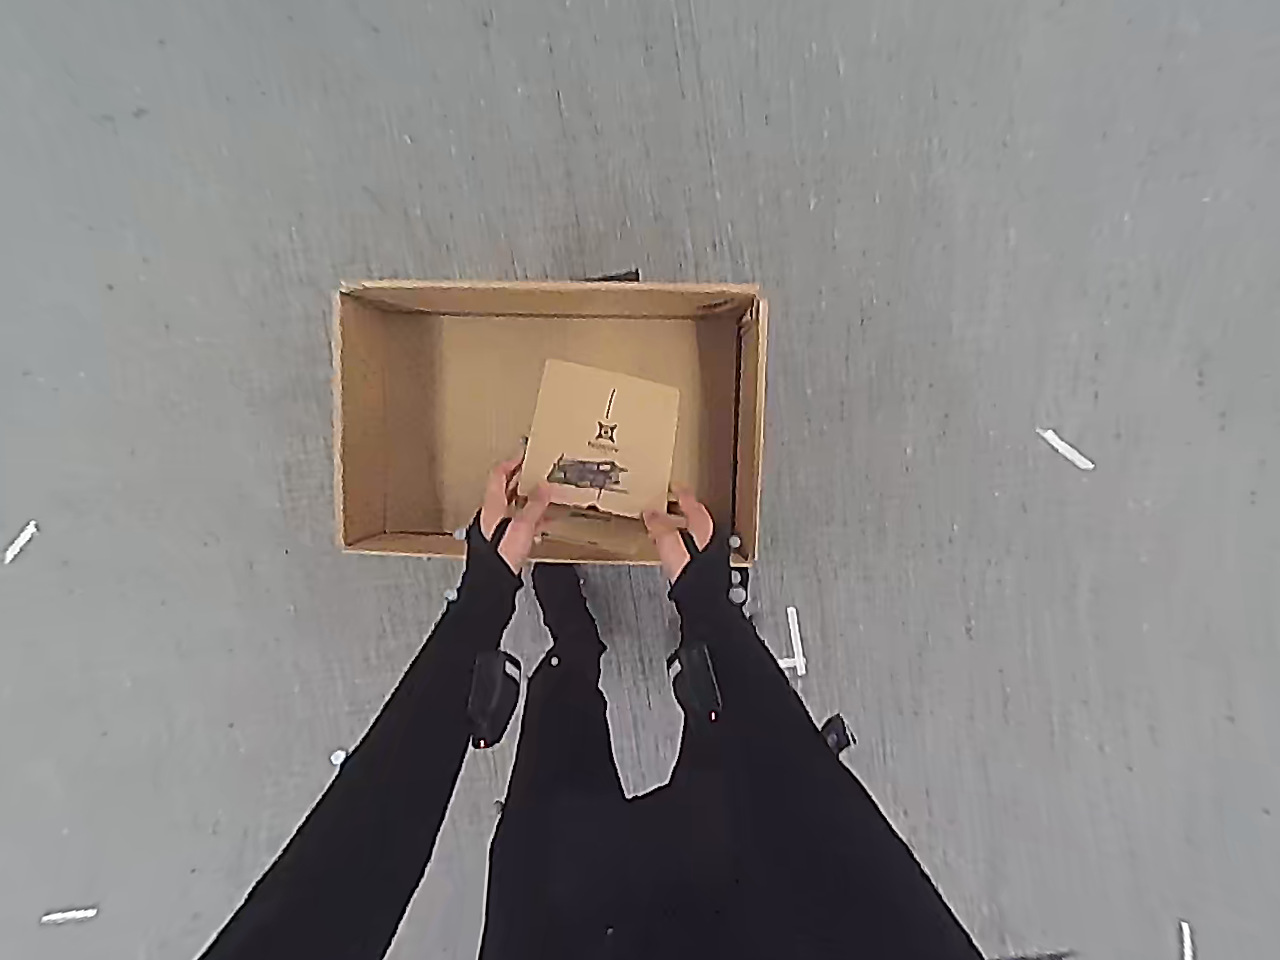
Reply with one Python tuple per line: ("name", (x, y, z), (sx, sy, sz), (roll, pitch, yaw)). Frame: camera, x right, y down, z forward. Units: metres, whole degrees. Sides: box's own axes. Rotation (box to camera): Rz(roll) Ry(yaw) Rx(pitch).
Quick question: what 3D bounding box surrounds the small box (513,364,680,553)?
("small box", (-0.059, -0.014, 0.676), (0.168, 0.176, 0.179), (11, 70, -10))
